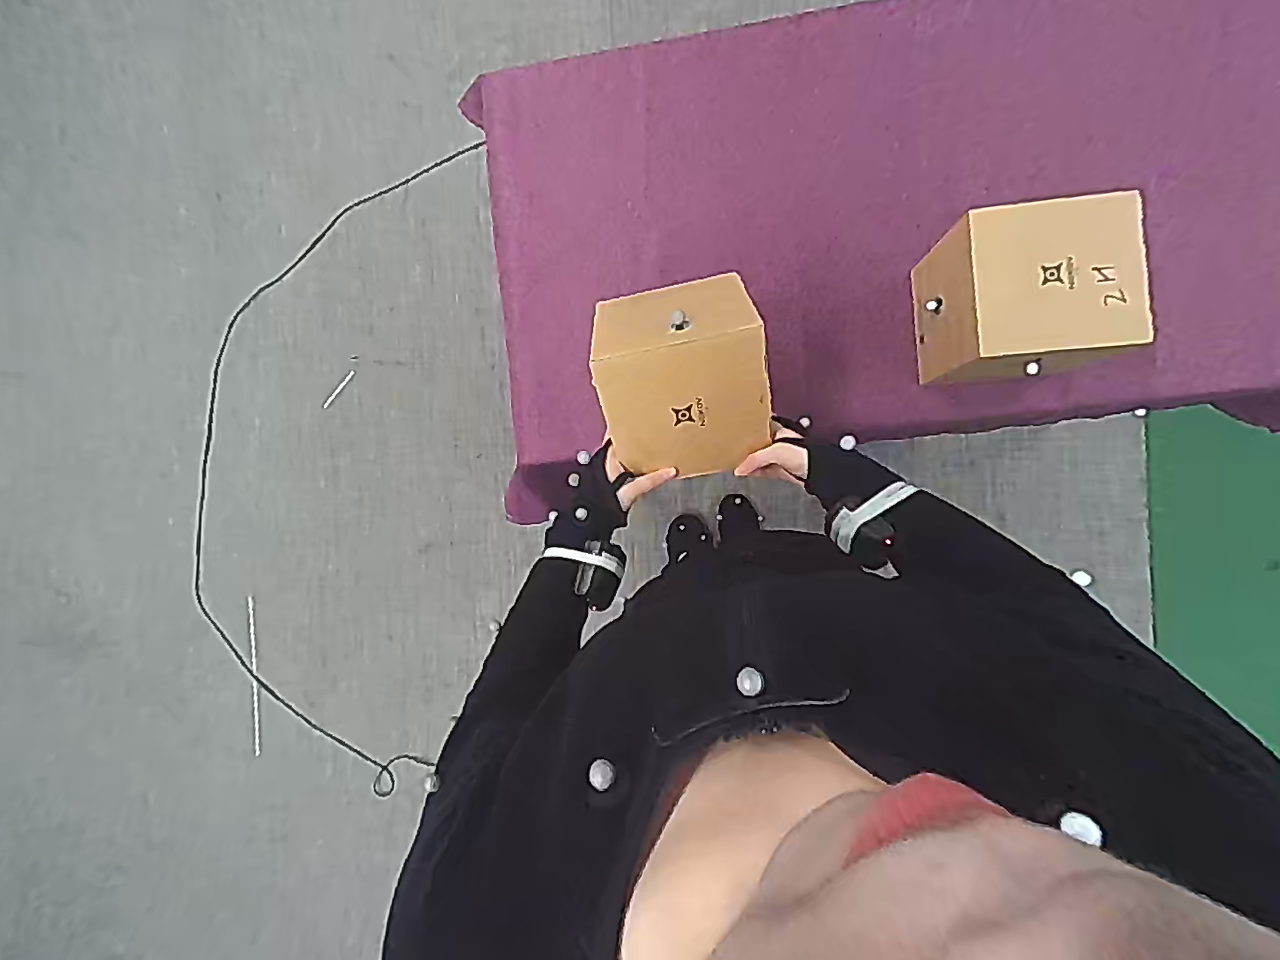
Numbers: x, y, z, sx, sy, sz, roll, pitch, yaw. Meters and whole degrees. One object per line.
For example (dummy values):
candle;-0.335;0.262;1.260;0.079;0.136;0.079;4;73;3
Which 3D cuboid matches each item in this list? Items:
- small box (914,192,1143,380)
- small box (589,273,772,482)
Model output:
small box;0.455;-0.222;0.666;0.179;0.176;0.168;-3;90;6
small box;0.047;-0.123;0.632;0.179;0.176;0.168;-11;127;5
